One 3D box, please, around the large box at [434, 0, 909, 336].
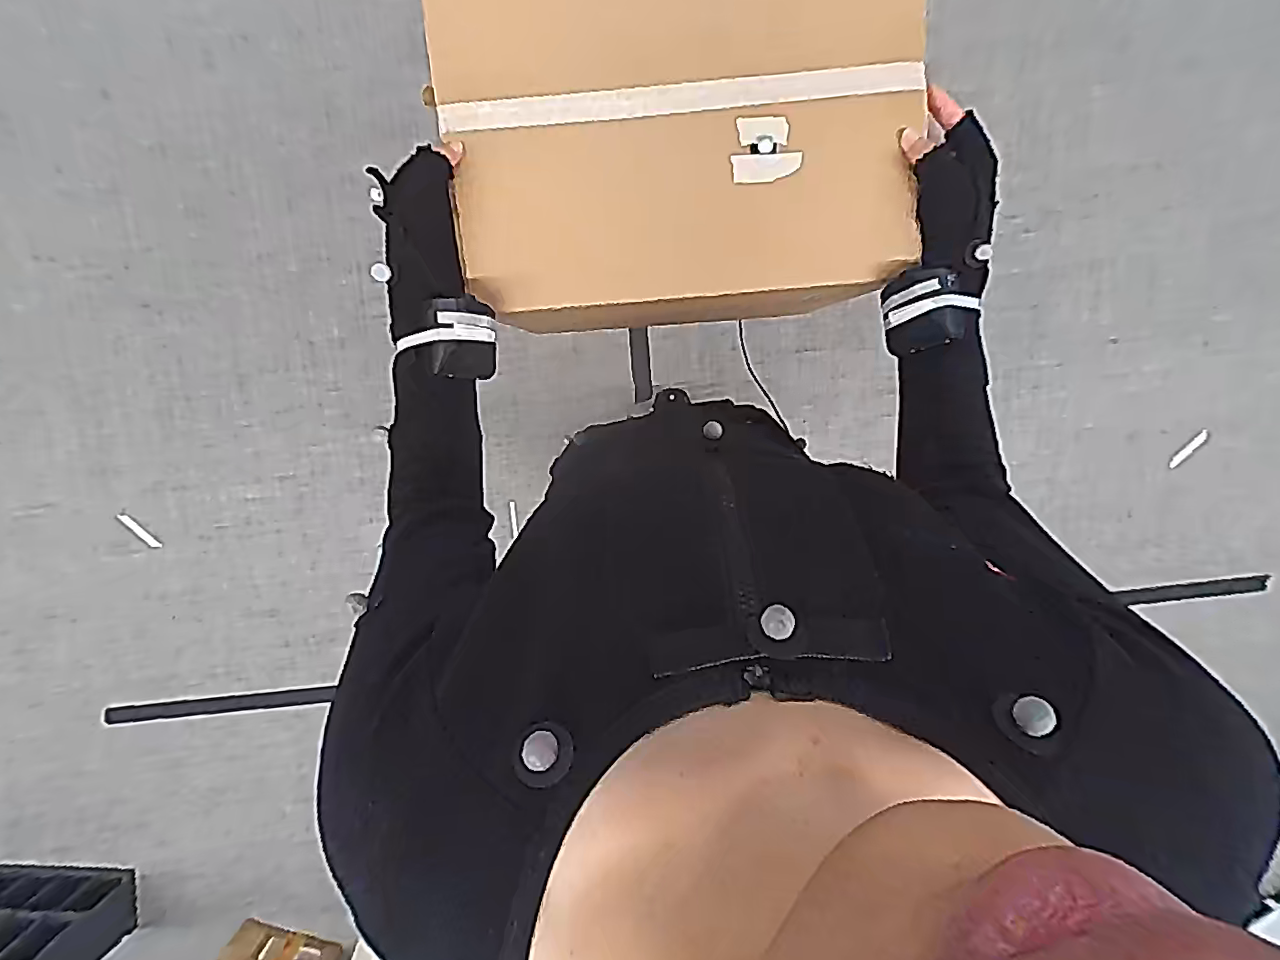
[{"bbox_3d":[0.031,-0.351,0.615,0.408,0.320,0.320,-5,102,0],"label":"large box"}]
